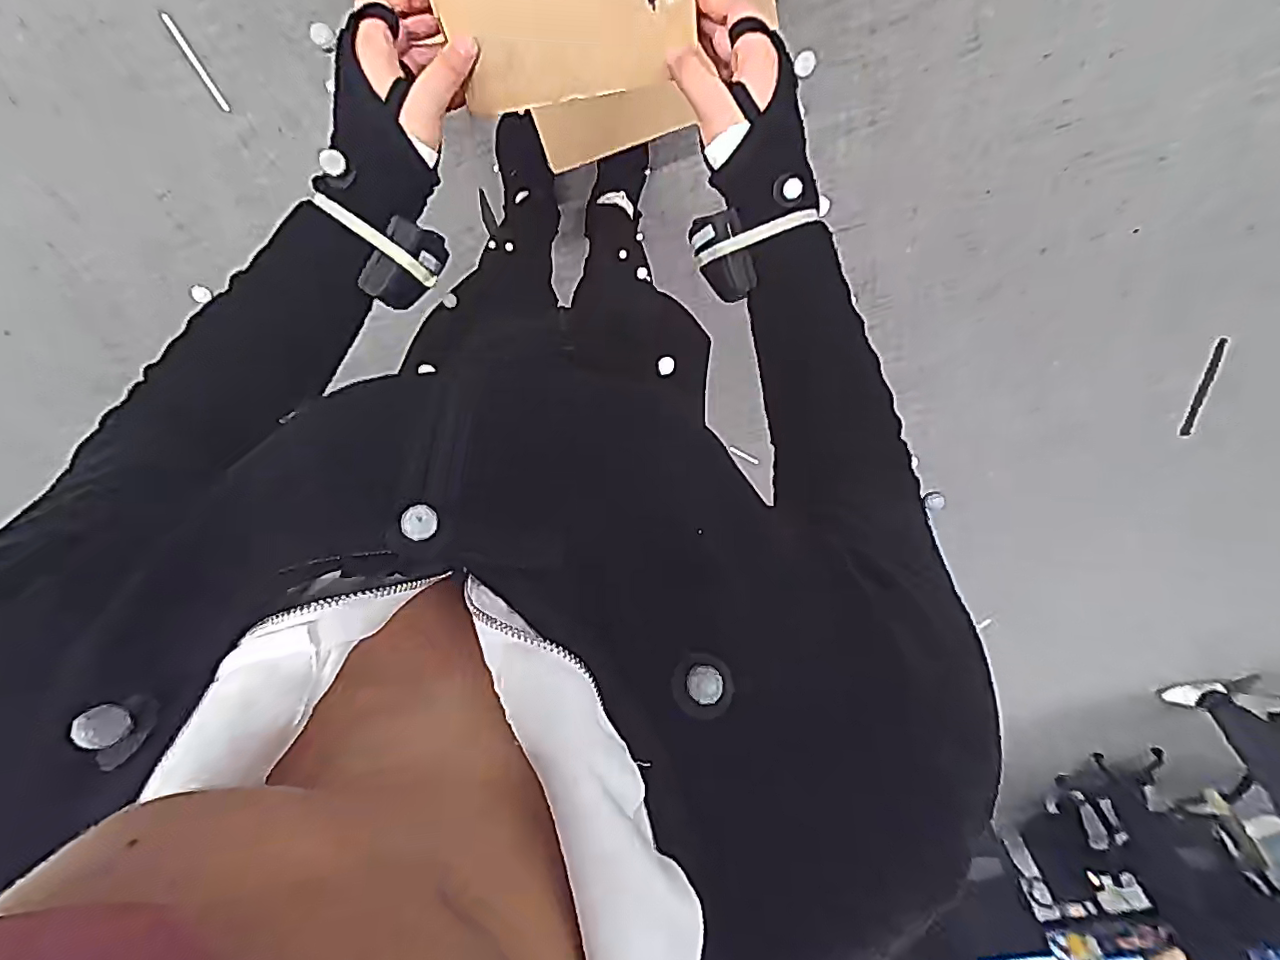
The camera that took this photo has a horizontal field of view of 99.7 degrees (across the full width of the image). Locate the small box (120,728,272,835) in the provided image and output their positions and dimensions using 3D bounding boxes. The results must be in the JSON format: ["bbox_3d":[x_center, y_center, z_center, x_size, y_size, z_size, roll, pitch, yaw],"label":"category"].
[{"bbox_3d":[-1.013,0.692,1.253,0.168,0.176,0.179,-15,130,11],"label":"small box"}]

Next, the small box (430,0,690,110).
[{"bbox_3d":[-0.058,-0.402,0.397,0.179,0.176,0.168,-5,139,7],"label":"small box"}]
